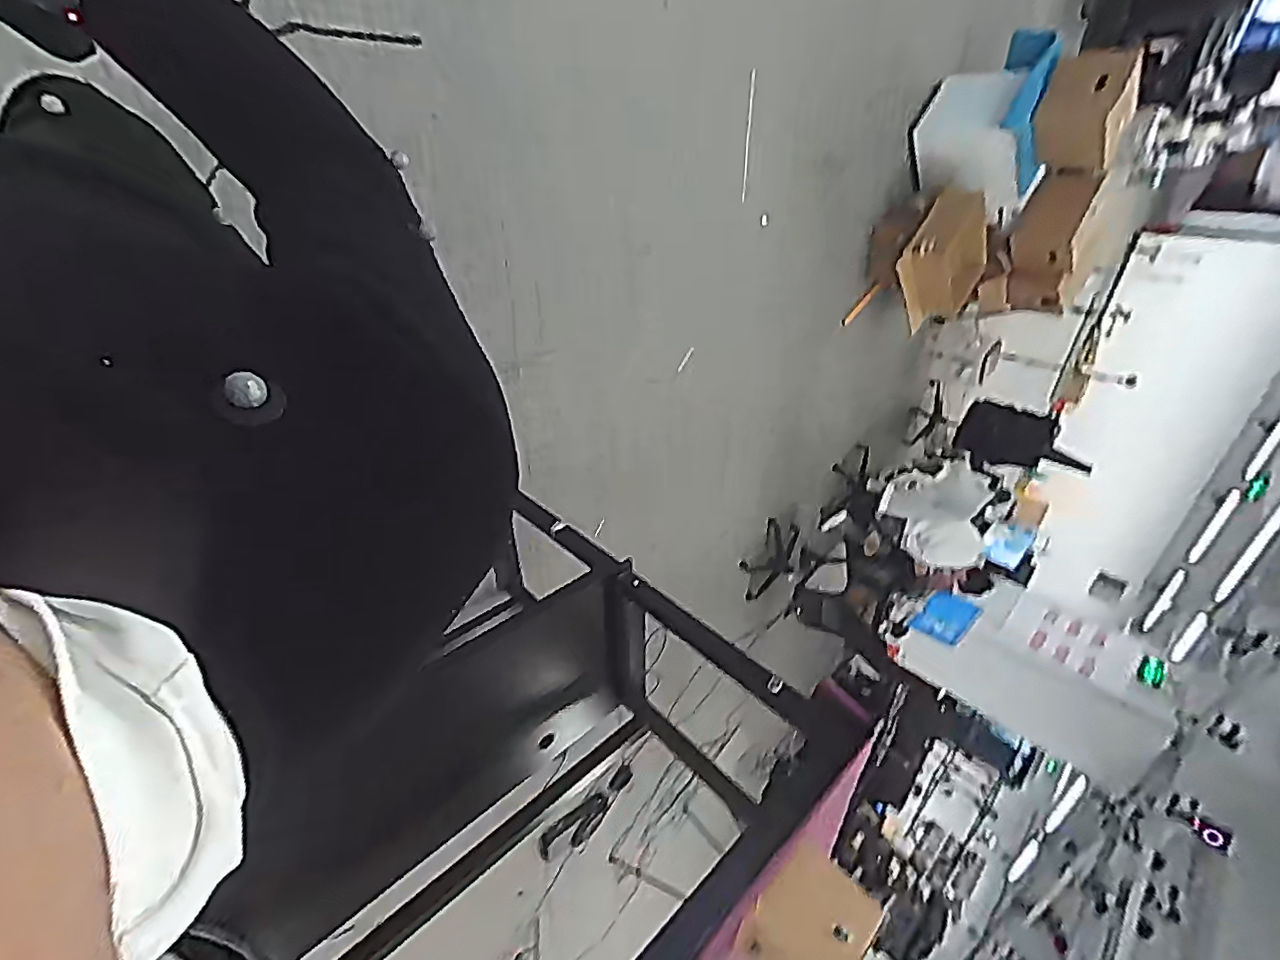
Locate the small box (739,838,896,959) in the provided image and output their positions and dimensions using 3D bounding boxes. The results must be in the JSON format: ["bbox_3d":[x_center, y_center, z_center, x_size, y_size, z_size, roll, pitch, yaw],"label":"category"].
[{"bbox_3d":[0.291,0.757,0.904,0.179,0.176,0.168,-24,128,-37],"label":"small box"}]
